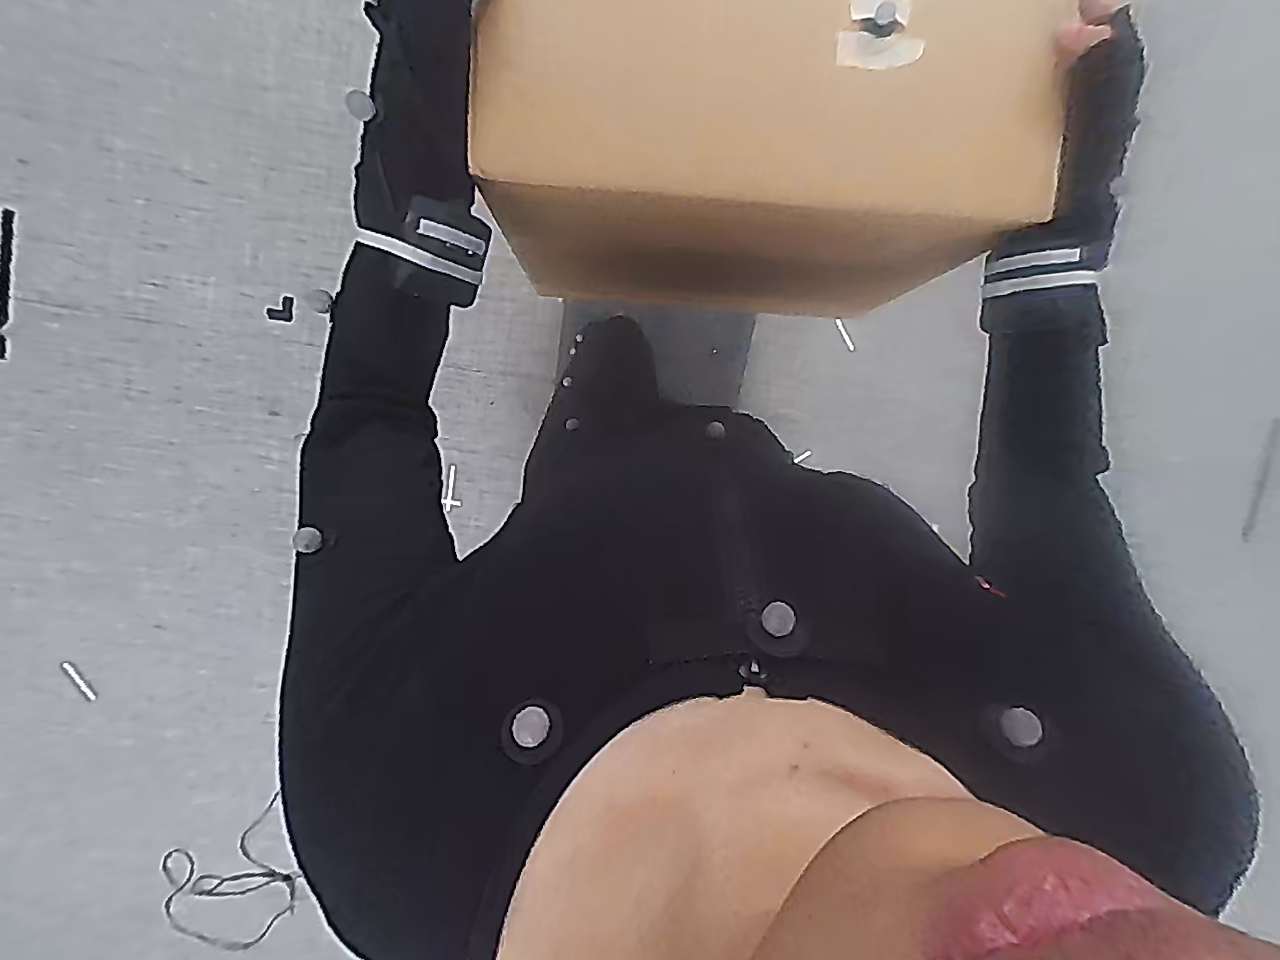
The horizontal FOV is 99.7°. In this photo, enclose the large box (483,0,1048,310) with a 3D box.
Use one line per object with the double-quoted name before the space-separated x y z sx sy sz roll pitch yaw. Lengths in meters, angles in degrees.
"large box" 0.084 -0.365 0.525 0.408 0.320 0.320 3 94 -3
